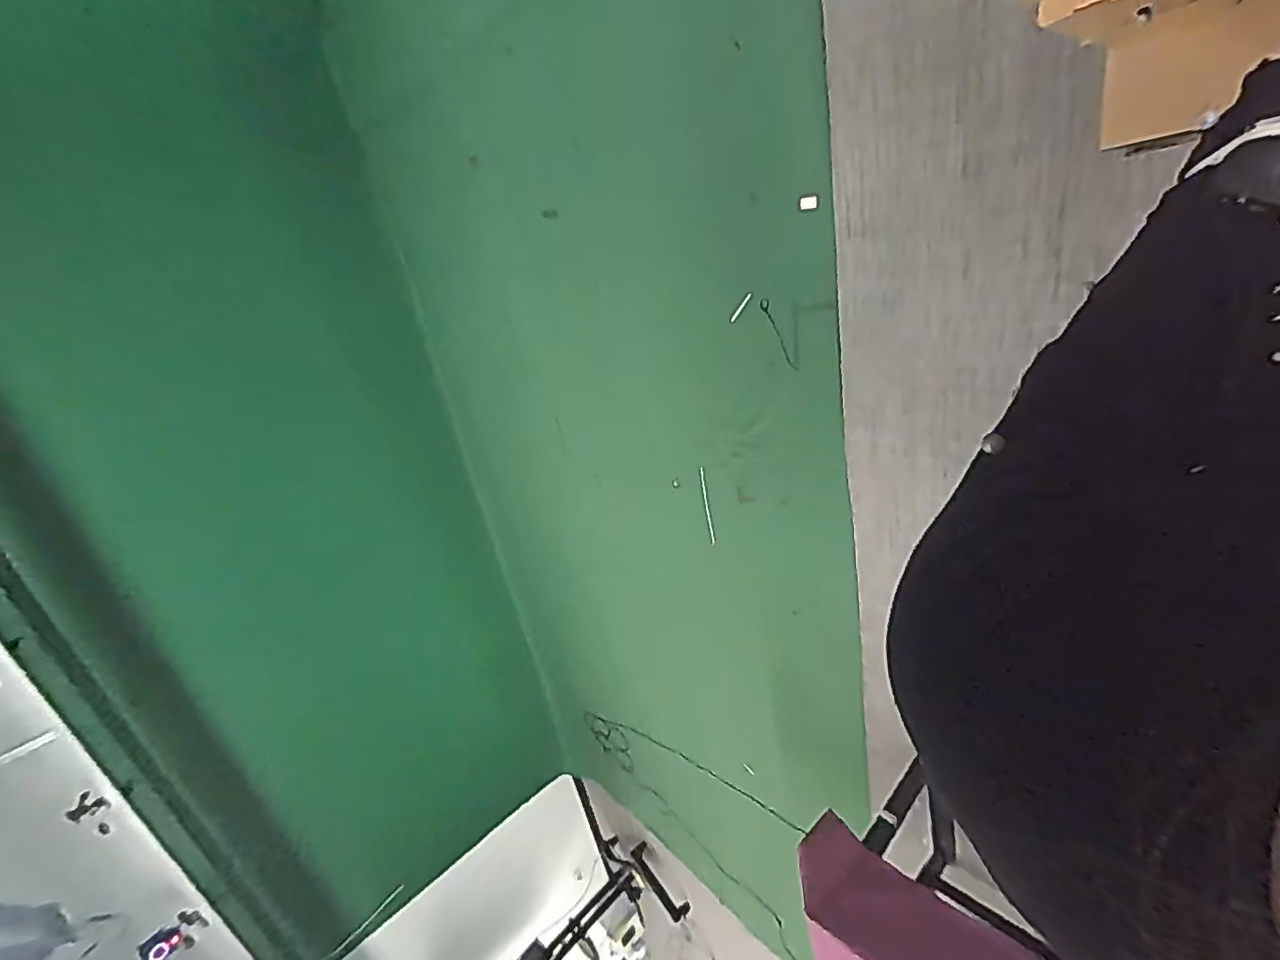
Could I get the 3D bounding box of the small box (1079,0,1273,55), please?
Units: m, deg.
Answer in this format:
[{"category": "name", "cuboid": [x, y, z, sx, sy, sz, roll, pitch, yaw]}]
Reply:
[{"category": "small box", "cuboid": [0.649, -0.633, 0.630, 0.179, 0.176, 0.168, 13, 119, 48]}]
